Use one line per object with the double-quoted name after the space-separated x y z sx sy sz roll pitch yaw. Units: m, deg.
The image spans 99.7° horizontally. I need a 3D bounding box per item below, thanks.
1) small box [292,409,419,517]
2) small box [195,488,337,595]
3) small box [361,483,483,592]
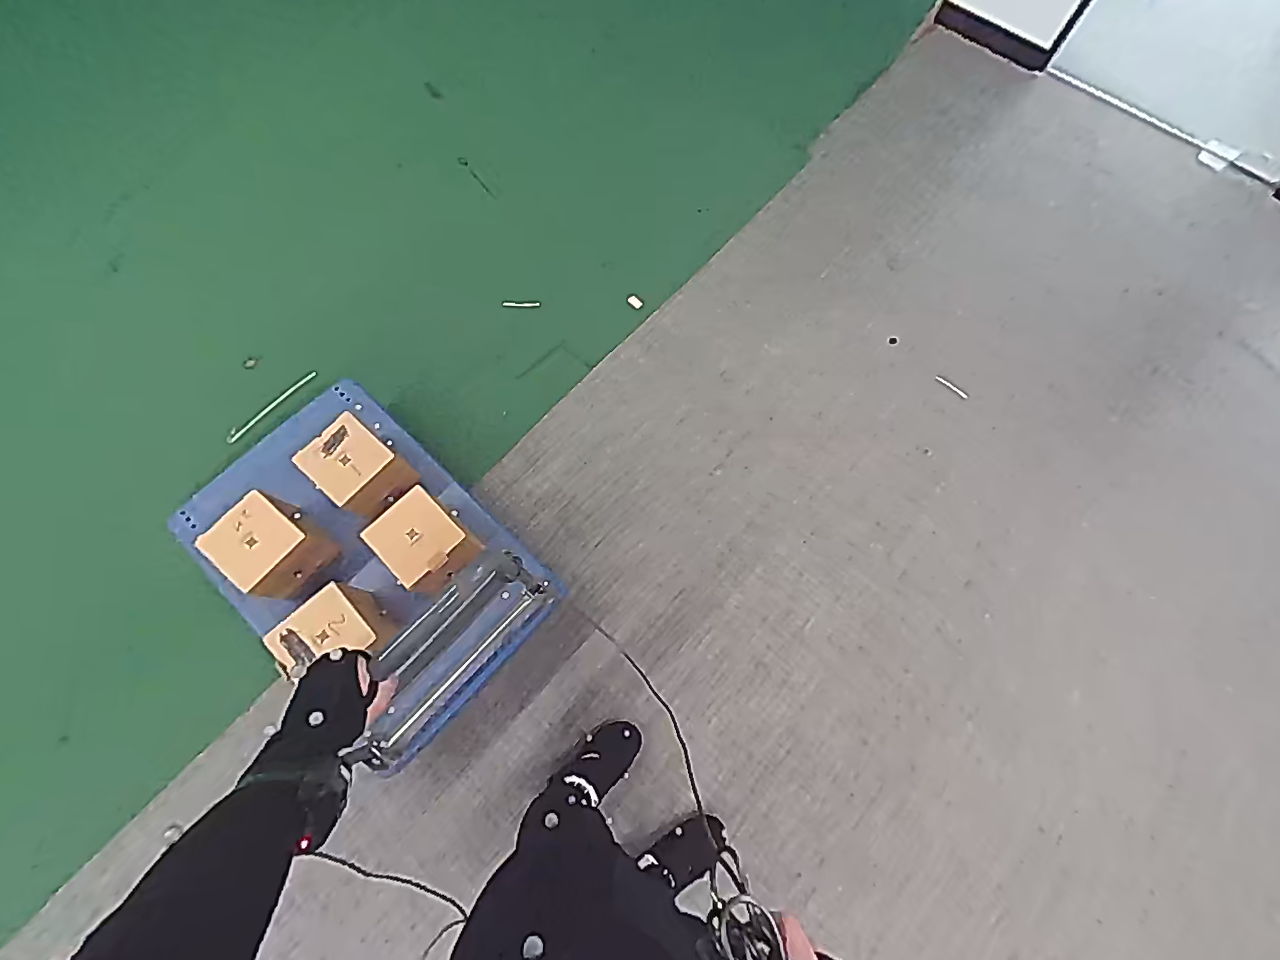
-0.677 -0.032 1.307 0.179 0.176 0.168 40 77 10 "small box"
-0.848 0.151 1.247 0.179 0.176 0.168 38 75 10 "small box"
-0.497 0.142 1.256 0.179 0.176 0.168 44 77 11 "small box"
